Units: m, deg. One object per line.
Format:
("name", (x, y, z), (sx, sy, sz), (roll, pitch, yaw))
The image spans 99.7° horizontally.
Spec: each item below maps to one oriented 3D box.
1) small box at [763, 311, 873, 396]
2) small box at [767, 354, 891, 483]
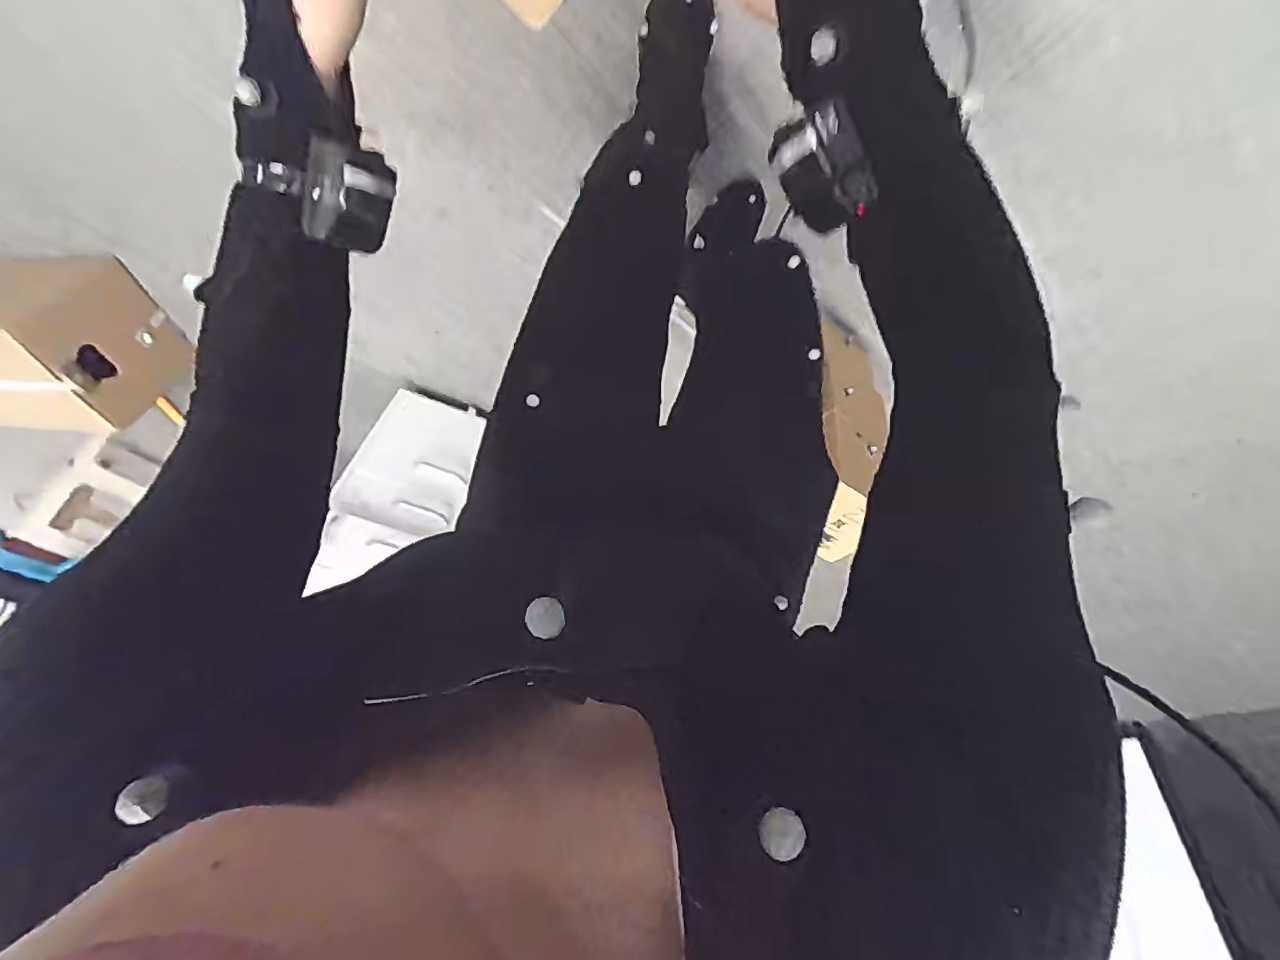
("small box", (0.393, -0.249, 1.210), (0.179, 0.176, 0.168), (32, 137, -23))
("small box", (0.375, -0.129, 1.101), (0.179, 0.176, 0.168), (28, 139, -23))
